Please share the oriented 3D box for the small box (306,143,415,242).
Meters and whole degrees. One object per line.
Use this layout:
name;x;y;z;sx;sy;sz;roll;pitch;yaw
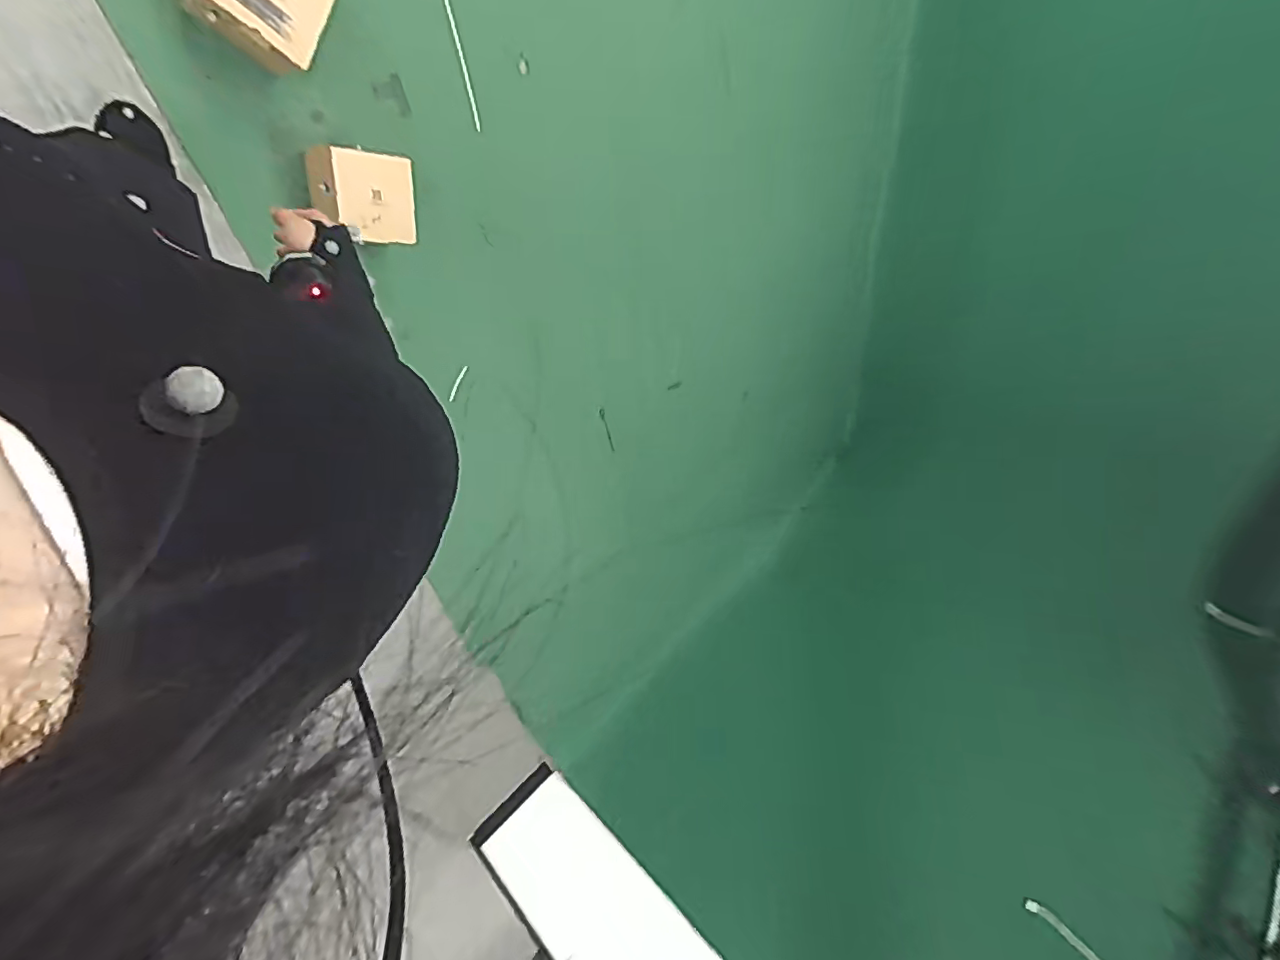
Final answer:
small box;-0.626;-0.642;1.213;0.168;0.176;0.179;-18;126;-42
